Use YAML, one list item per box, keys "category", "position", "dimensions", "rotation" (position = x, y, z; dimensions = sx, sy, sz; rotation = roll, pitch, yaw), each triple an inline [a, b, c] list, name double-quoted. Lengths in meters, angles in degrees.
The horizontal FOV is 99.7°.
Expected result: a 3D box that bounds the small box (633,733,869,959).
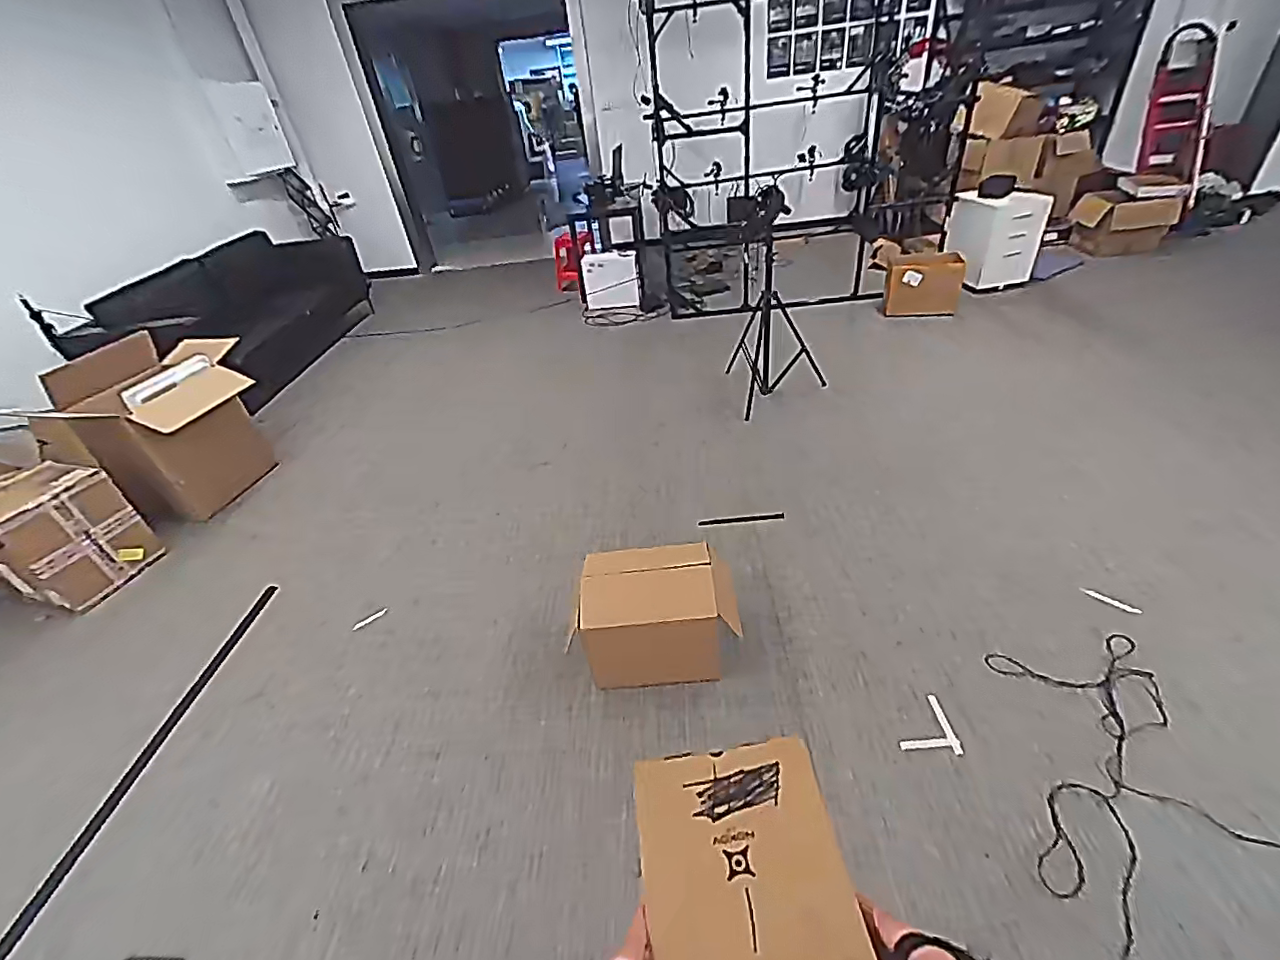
- category: "small box"
  position: [0.089, 0.373, 0.506]
  dimensions: [0.168, 0.176, 0.179]
  rotation: [-10, 37, 0]
